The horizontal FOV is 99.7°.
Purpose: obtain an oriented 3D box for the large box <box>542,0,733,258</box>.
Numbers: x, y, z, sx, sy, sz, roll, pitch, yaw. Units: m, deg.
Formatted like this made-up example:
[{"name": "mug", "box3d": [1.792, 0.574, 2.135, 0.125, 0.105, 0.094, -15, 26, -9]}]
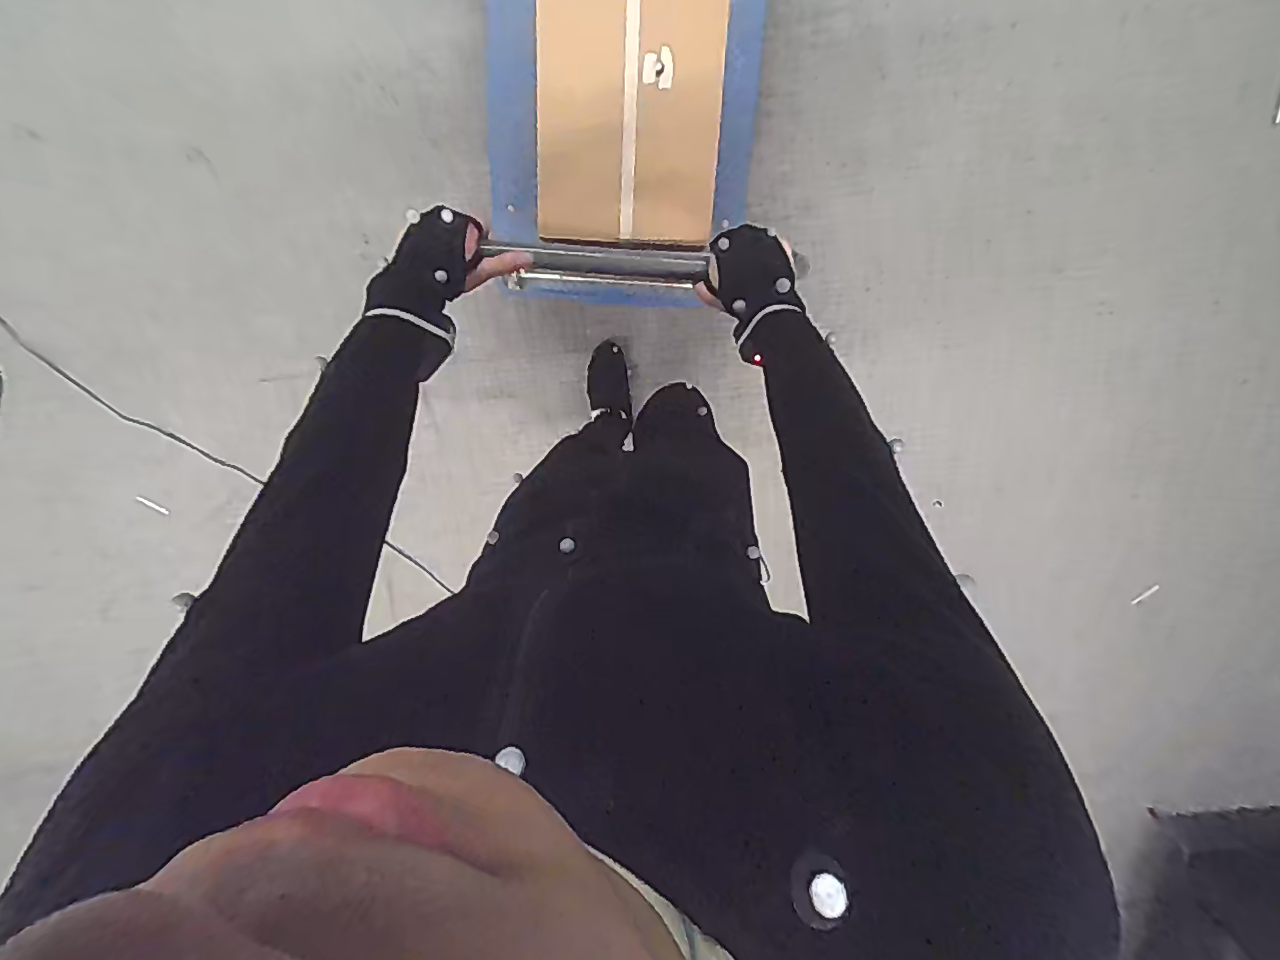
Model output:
[{"name": "large box", "box3d": [-0.012, -0.667, 1.061, 0.320, 0.320, 0.408, 3, 108, -2]}]
